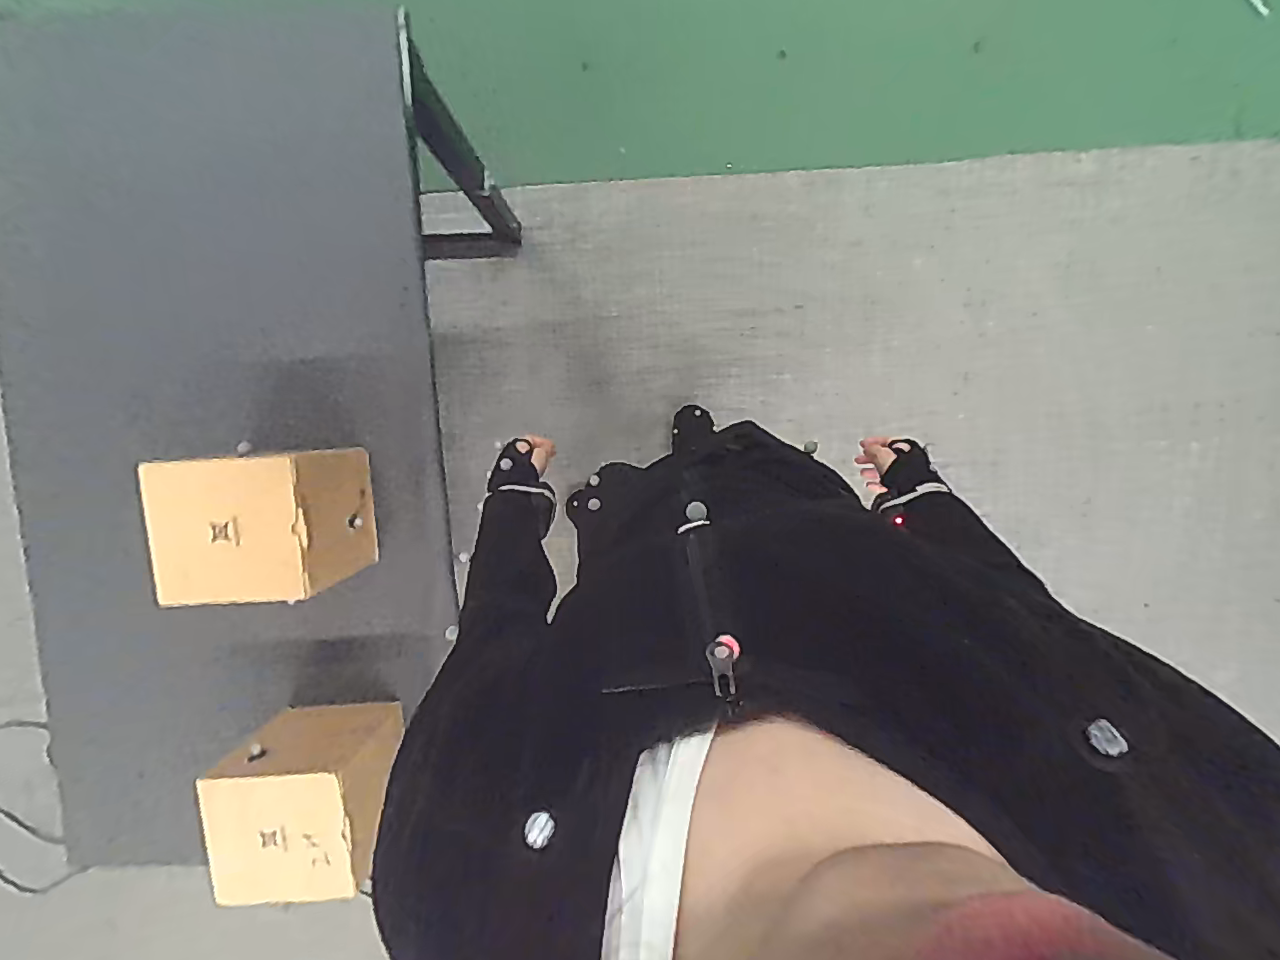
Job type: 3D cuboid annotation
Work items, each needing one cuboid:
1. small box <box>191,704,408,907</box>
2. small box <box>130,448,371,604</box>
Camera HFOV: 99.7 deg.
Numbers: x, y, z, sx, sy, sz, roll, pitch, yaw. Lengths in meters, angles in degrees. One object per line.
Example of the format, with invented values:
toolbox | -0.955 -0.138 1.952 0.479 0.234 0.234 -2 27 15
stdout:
small box | -0.437 0.419 0.720 0.179 0.176 0.168 -4 96 0
small box | -0.472 0.048 0.682 0.179 0.176 0.168 -4 96 0
